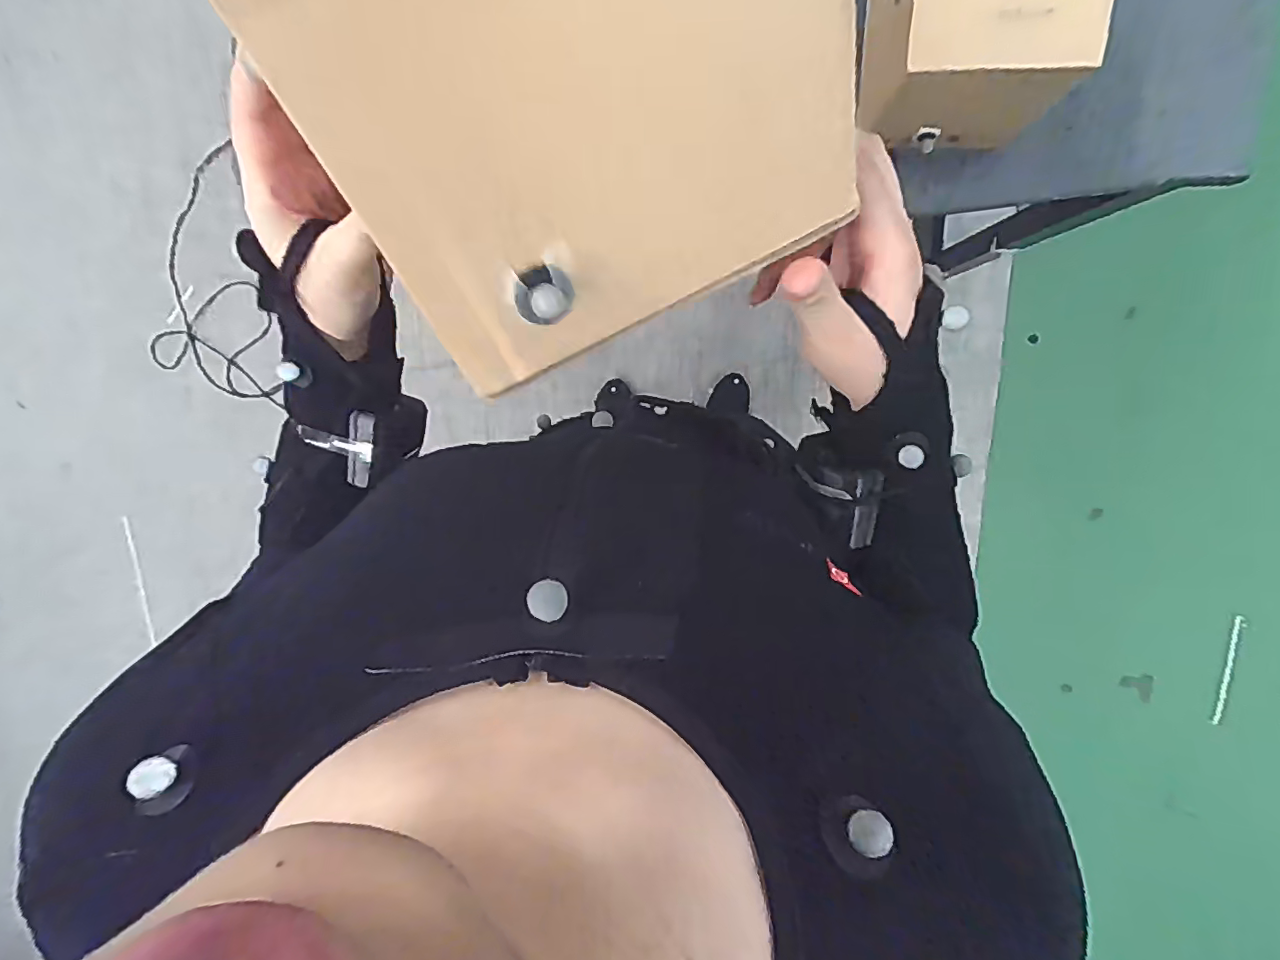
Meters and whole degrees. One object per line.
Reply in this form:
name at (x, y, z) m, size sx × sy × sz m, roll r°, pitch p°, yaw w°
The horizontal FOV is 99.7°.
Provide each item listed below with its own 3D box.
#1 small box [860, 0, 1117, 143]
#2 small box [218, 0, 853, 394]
small box at (0.330, -0.465, 0.534) m, size 0.168 × 0.176 × 0.179 m, roll 3°, pitch 101°, yaw 6°
small box at (-0.039, -0.174, 0.213) m, size 0.179 × 0.168 × 0.176 m, roll -28°, pitch 138°, yaw -2°
